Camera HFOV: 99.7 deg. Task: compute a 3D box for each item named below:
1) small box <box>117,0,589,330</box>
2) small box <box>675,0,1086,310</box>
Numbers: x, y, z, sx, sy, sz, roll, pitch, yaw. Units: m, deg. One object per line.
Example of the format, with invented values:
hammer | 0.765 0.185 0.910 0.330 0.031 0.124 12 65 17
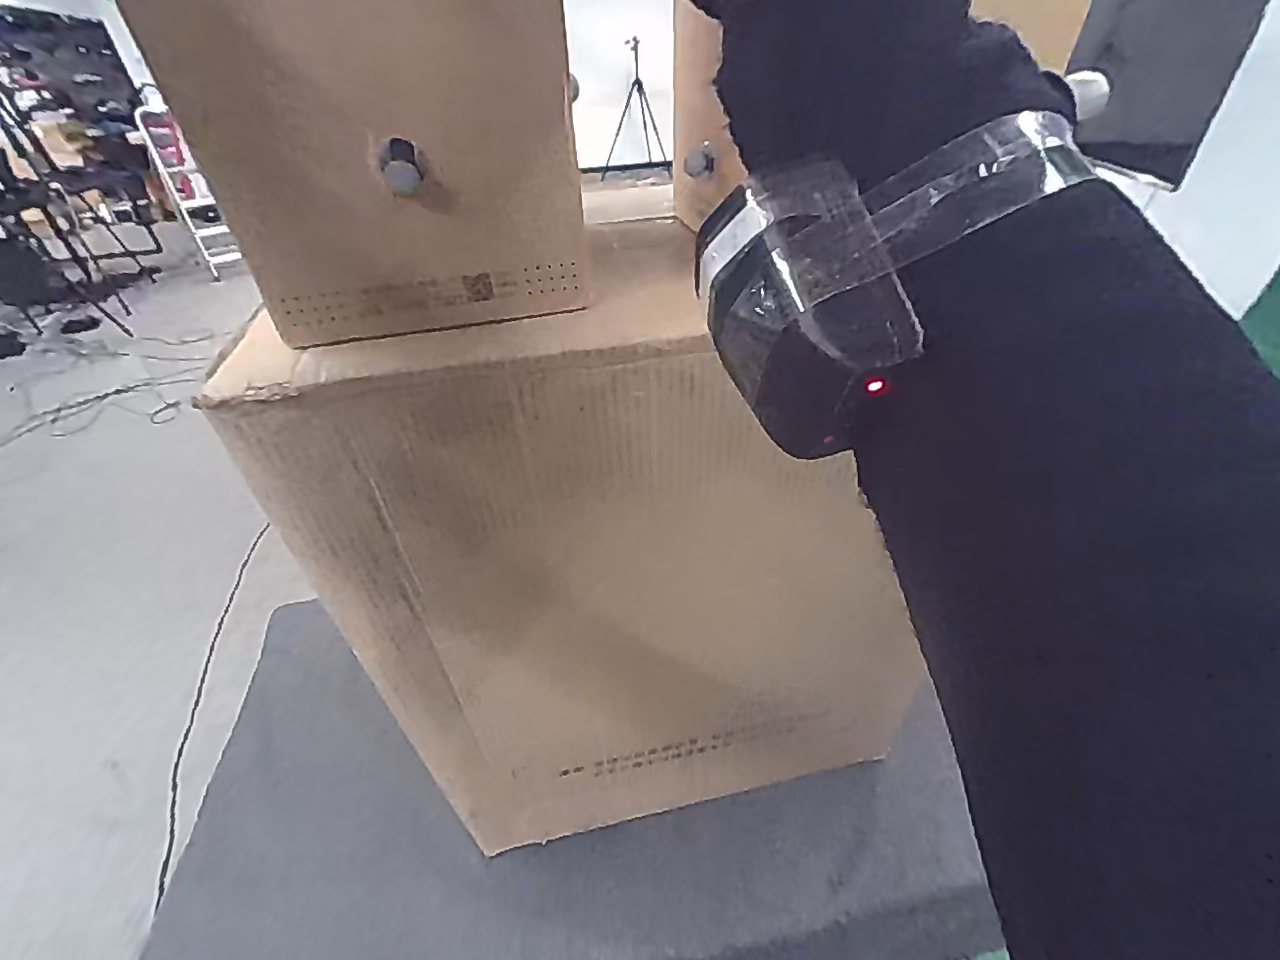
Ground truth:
small box | -0.128 -0.196 0.310 0.168 0.176 0.179 -11 42 -10
small box | 0.129 -0.232 0.367 0.179 0.176 0.168 -12 41 -11
